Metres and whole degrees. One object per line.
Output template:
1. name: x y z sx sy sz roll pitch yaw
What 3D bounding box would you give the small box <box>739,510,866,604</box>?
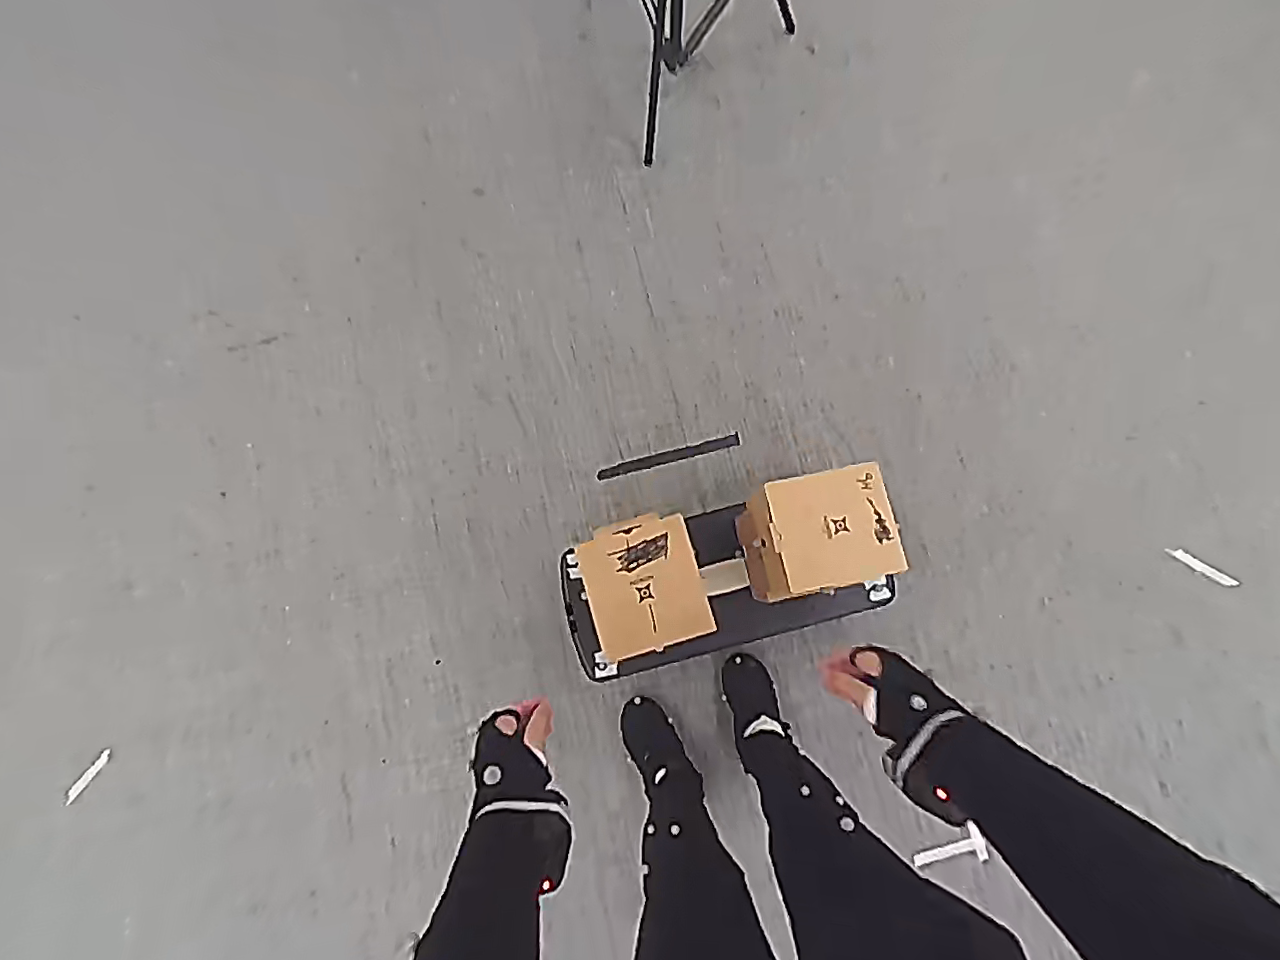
1. small box: 0.287 0.128 1.012 0.179 0.176 0.168 -14 78 -1

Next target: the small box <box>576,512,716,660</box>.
1. small box: 0.007 0.164 0.846 0.168 0.176 0.179 -16 80 -1

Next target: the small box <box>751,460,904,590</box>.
1. small box: 0.280 0.079 0.857 0.179 0.176 0.168 -12 79 1
